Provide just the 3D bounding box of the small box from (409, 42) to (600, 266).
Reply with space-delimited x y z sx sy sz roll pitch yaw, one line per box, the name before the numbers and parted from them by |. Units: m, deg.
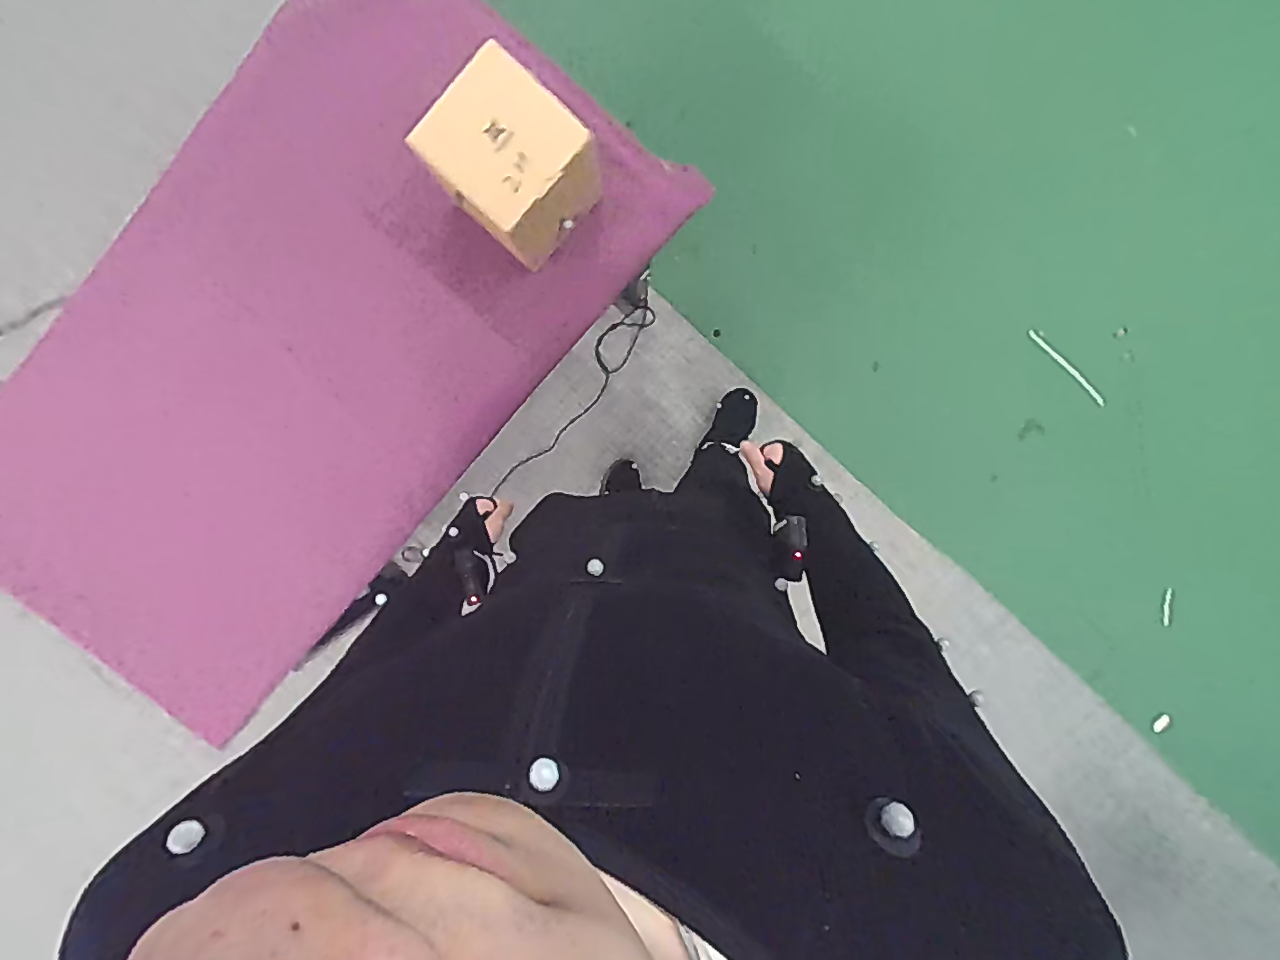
small box | -0.176 -0.437 0.761 0.179 0.176 0.168 43 95 -3
